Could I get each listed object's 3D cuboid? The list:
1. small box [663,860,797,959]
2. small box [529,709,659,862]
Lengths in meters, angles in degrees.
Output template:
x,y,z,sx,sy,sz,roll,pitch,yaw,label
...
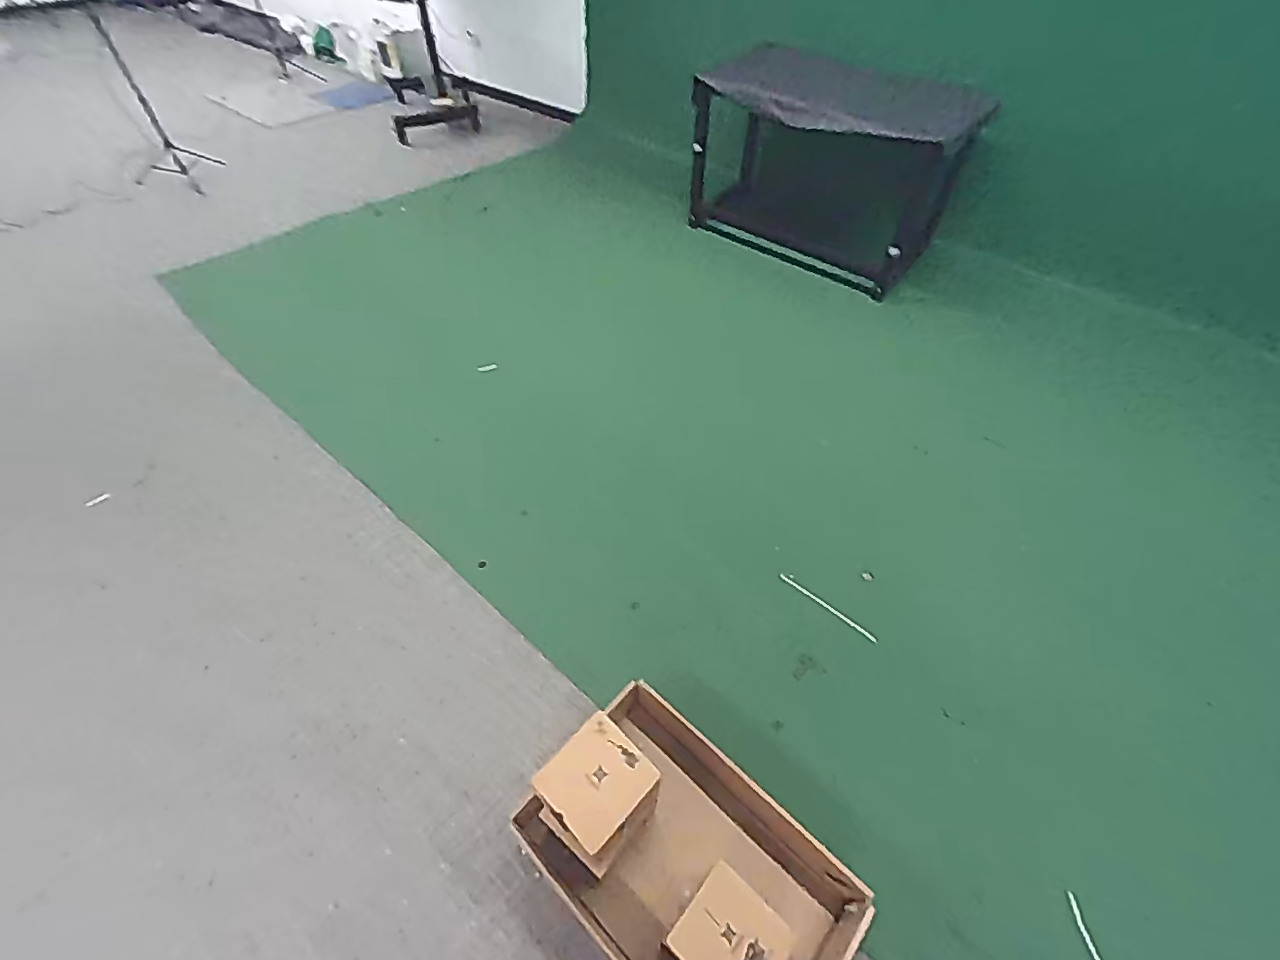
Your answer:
x,y,z,sx,sy,sz,roll,pitch,yaw,label
0.159,0.850,1.003,0.179,0.176,0.168,35,58,26,small box
-0.079,0.576,1.013,0.168,0.176,0.179,38,60,26,small box
